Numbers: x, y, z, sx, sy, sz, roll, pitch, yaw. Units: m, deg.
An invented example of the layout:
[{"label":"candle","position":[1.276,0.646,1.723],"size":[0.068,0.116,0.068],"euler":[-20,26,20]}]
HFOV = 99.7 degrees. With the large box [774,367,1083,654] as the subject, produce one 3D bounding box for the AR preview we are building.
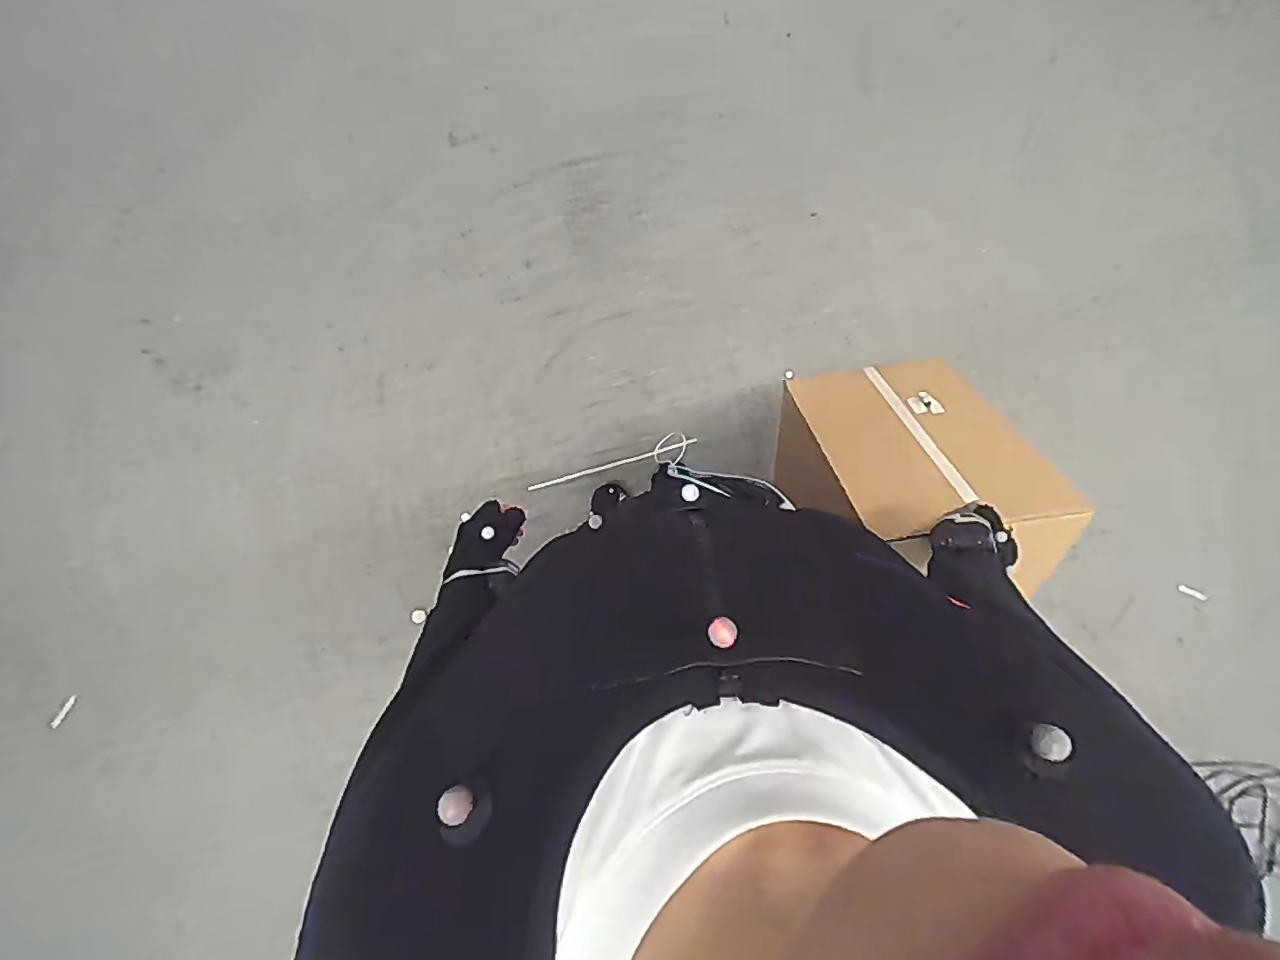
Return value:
[{"label":"large box","position":[0.461,0.047,0.992],"size":[0.320,0.408,0.320],"euler":[-7,133,-2]}]
